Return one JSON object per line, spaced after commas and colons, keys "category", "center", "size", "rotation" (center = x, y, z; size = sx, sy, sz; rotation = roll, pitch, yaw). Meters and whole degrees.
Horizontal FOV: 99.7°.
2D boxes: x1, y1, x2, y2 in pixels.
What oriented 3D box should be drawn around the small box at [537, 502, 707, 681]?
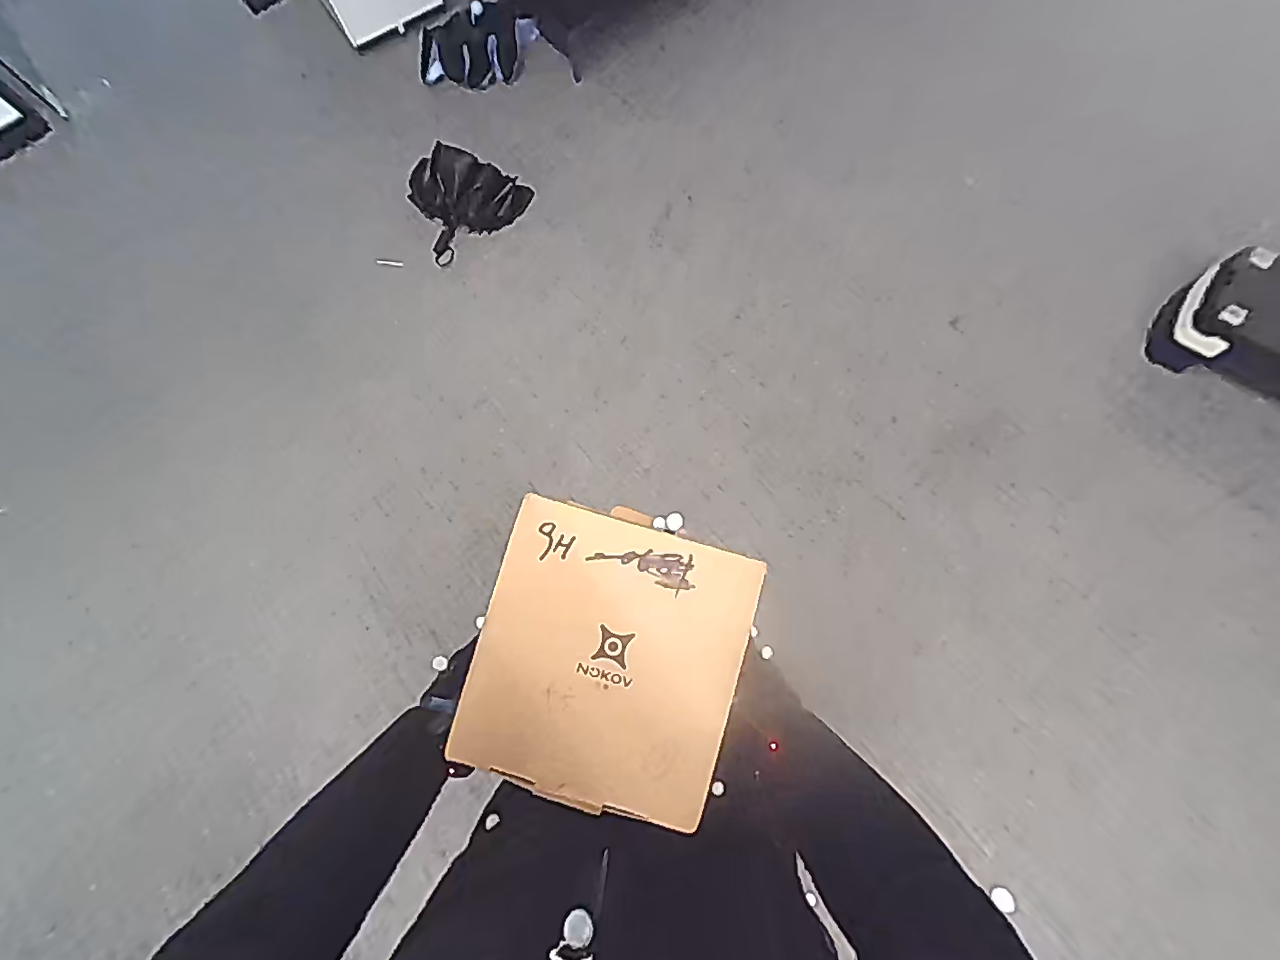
{"category": "small box", "center": [-0.021, 0.143, 0.737], "size": [0.168, 0.176, 0.179], "rotation": [19, 85, 4]}
